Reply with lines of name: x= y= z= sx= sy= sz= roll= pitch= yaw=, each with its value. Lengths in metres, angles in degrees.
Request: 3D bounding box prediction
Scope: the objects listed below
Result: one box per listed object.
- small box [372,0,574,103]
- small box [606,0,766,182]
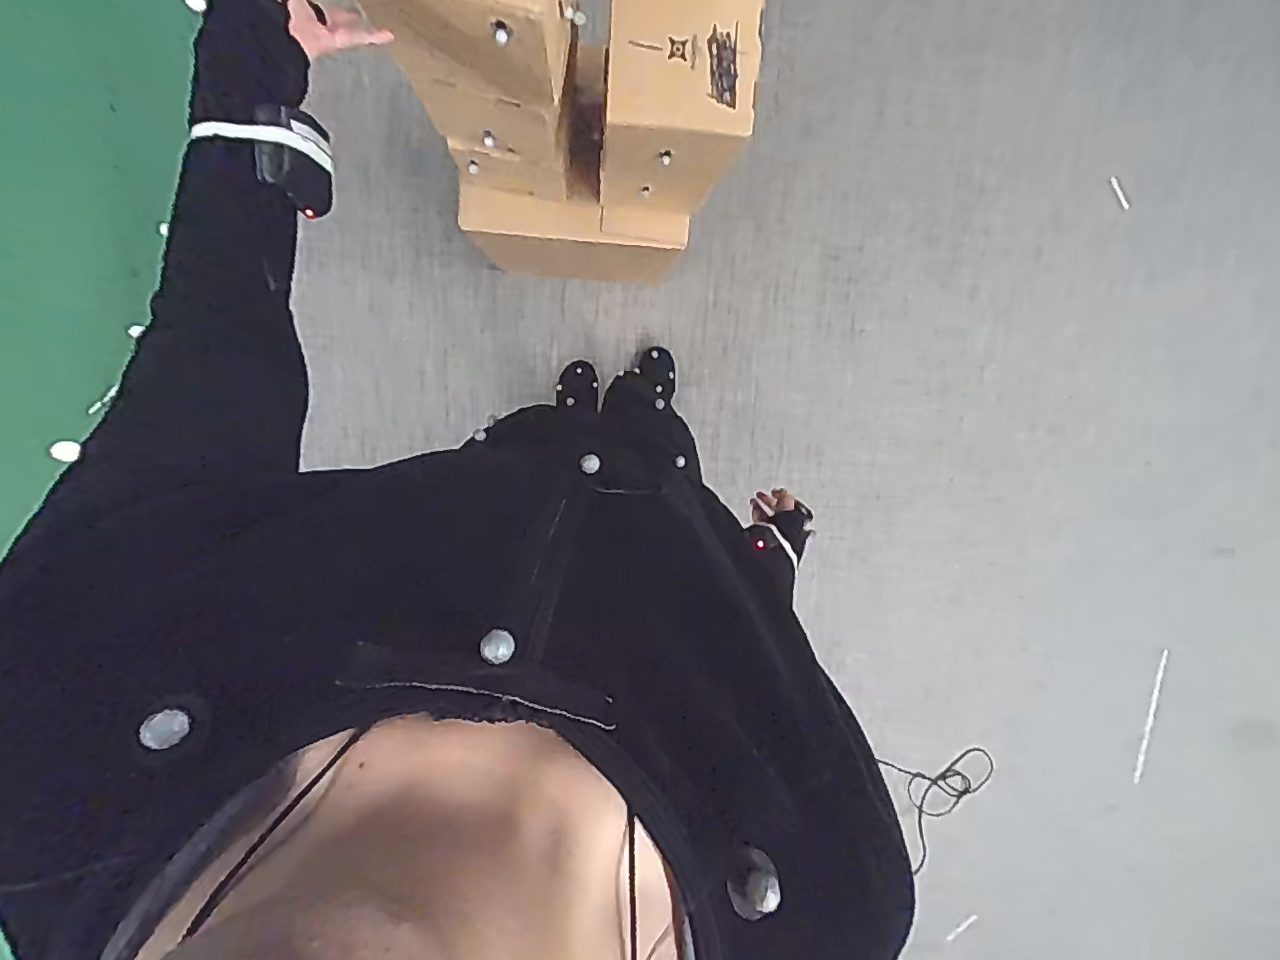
small box: x=-0.158 y=-0.502 z=0.520 sx=0.179 sy=0.176 sz=0.168 roll=8 pitch=100 yaw=-7
small box: x=0.048 y=-0.505 z=0.701 sx=0.179 sy=0.176 sz=0.168 roll=3 pitch=101 yaw=-4
